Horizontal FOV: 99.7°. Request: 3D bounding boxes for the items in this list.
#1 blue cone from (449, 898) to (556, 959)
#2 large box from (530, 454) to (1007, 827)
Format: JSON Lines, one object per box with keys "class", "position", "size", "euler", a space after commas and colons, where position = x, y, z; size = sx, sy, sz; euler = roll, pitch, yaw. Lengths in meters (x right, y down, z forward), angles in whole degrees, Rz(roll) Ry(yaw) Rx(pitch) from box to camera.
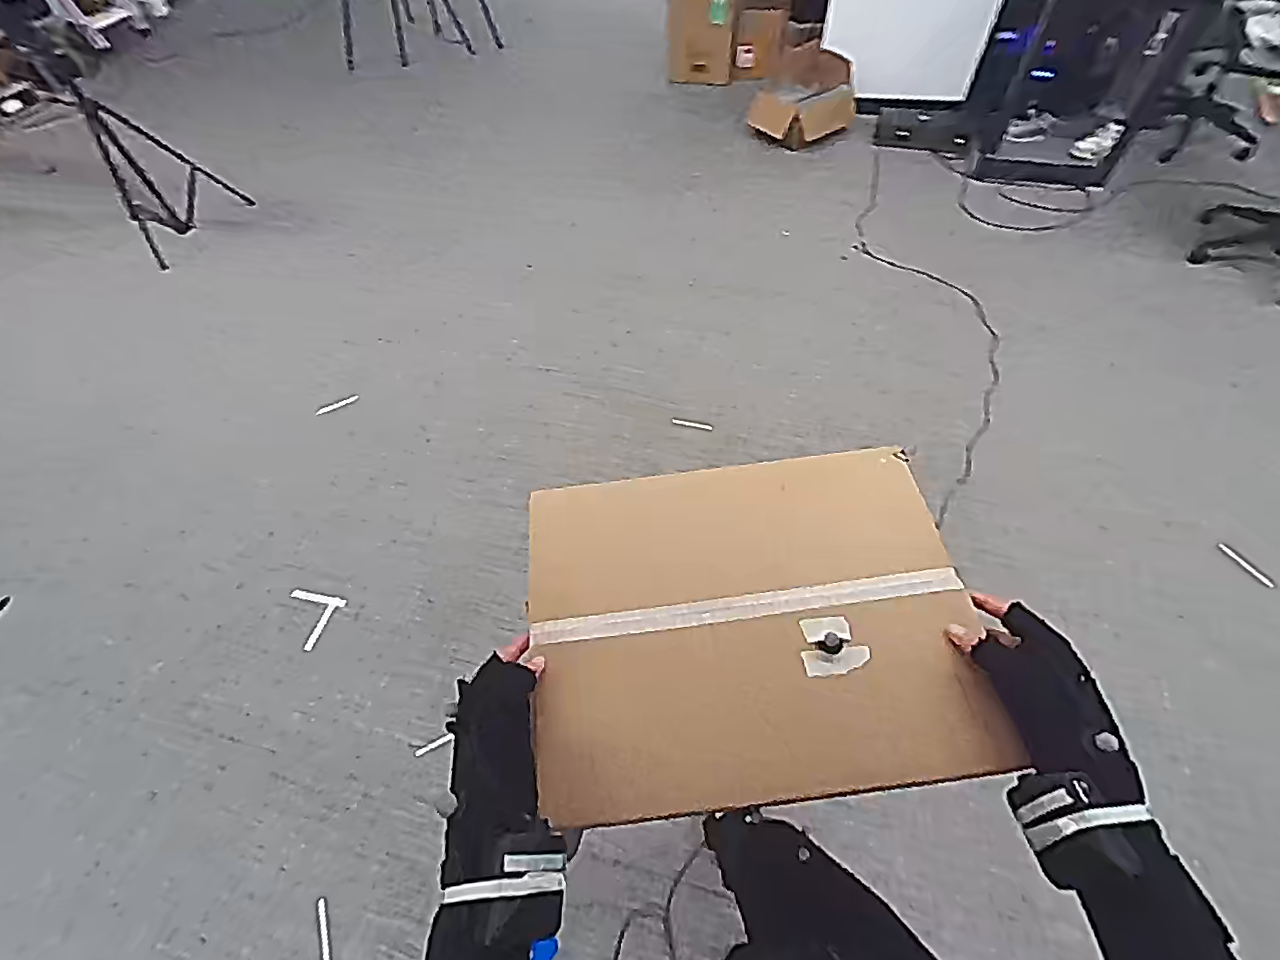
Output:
{"class": "blue cone", "position": [-0.302, 0.905, 0.973], "size": [0.193, 0.380, 0.192], "euler": [30, 63, 23]}
{"class": "large box", "position": [0.101, 0.206, 0.649], "size": [0.408, 0.320, 0.320], "euler": [-8, 58, -1]}
